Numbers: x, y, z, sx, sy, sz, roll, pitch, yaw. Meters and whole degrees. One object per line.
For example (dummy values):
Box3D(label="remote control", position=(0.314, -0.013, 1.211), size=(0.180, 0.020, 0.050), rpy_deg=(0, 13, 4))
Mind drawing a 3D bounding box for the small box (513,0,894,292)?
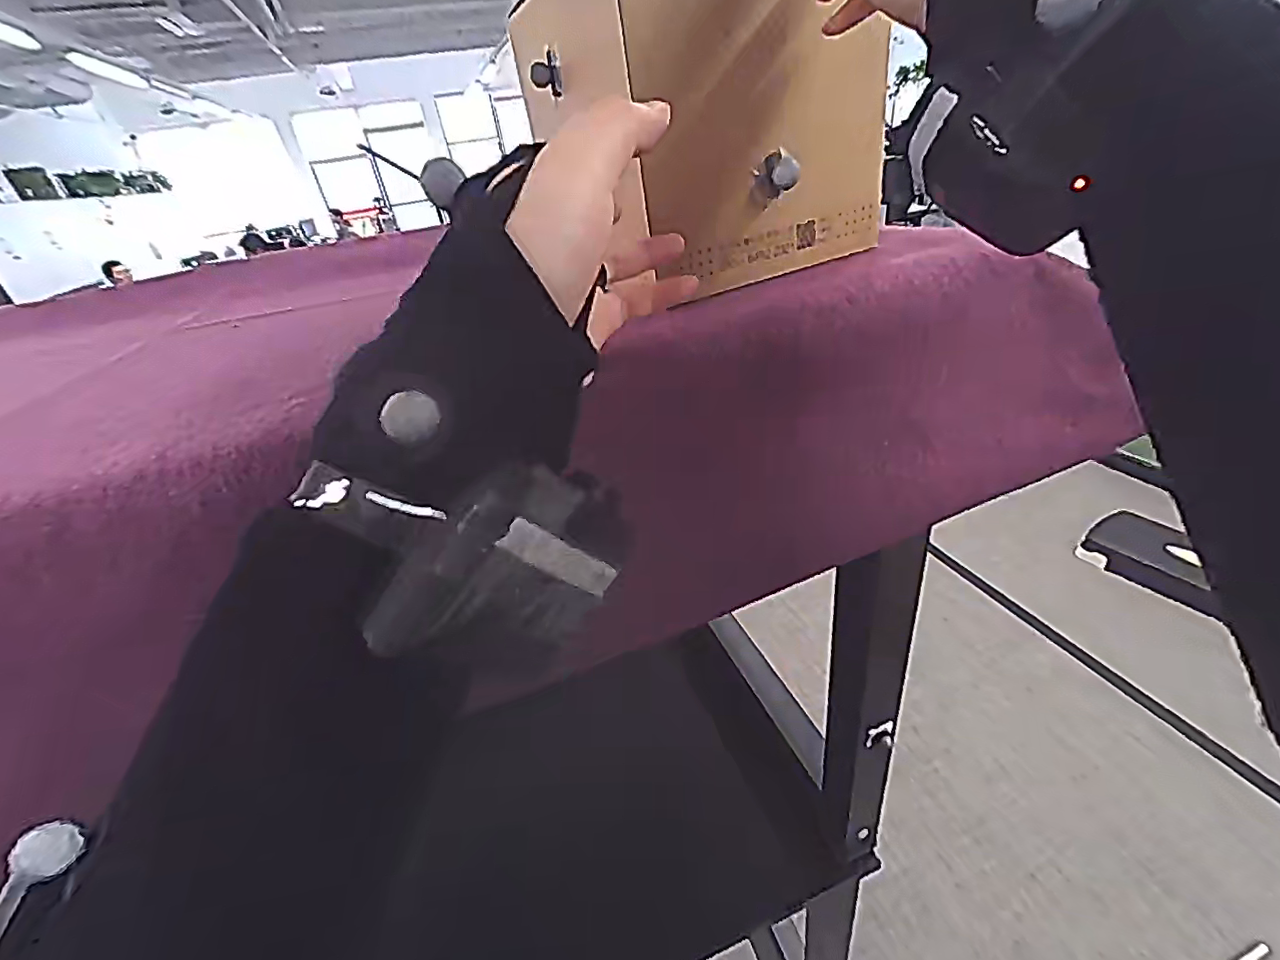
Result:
Box3D(label="small box", position=(0.035, -0.230, 0.355), size=(0.168, 0.176, 0.179), rpy_deg=(-22, 33, -18))
